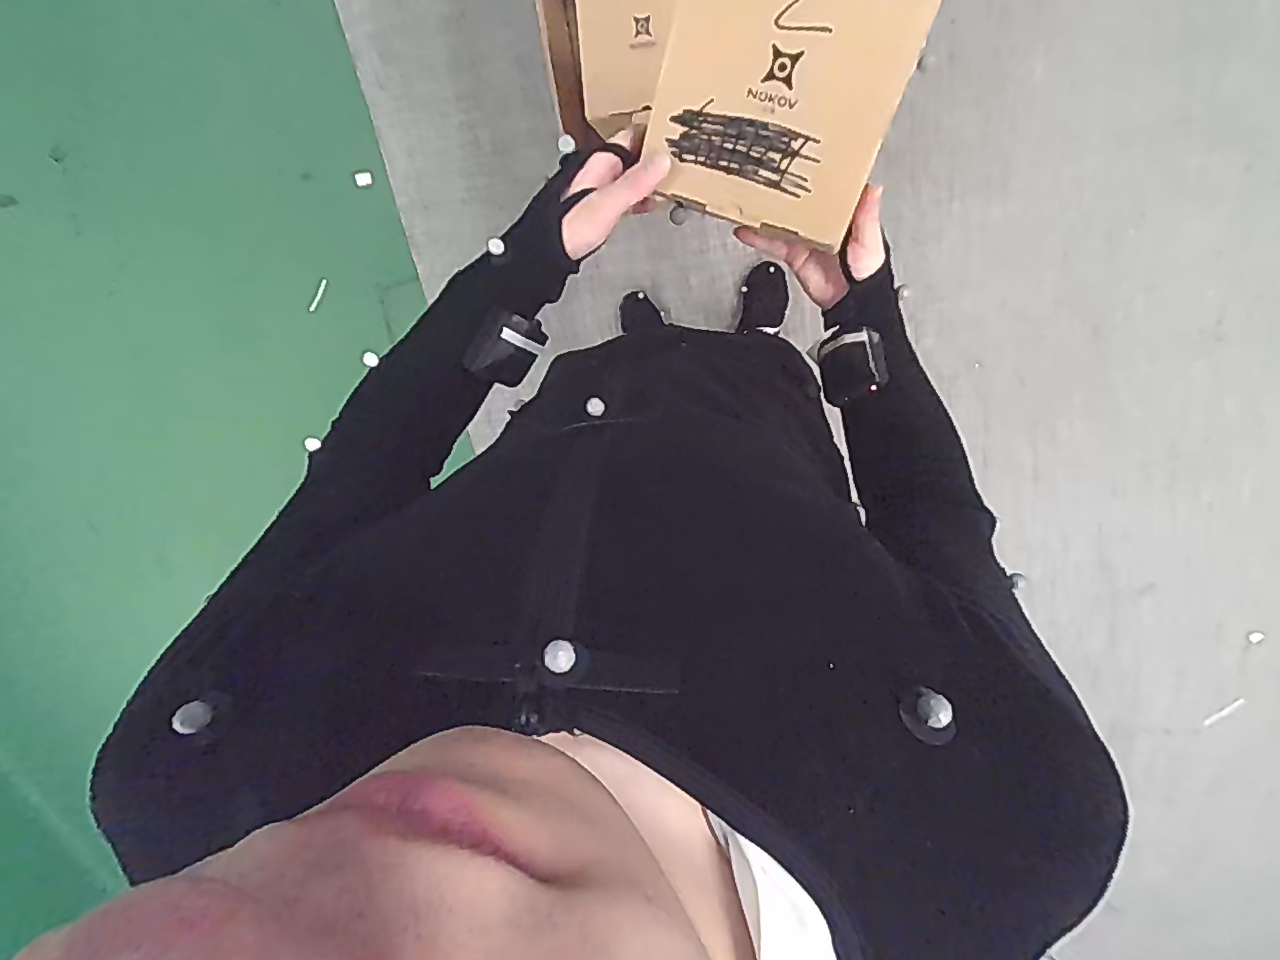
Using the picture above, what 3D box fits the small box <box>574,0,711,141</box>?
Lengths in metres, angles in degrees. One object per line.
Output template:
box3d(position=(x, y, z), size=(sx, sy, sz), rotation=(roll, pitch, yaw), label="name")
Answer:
box3d(position=(0.013, -0.583, 0.741), size=(0.168, 0.176, 0.179), rotation=(0, 110, 8), label="small box")
